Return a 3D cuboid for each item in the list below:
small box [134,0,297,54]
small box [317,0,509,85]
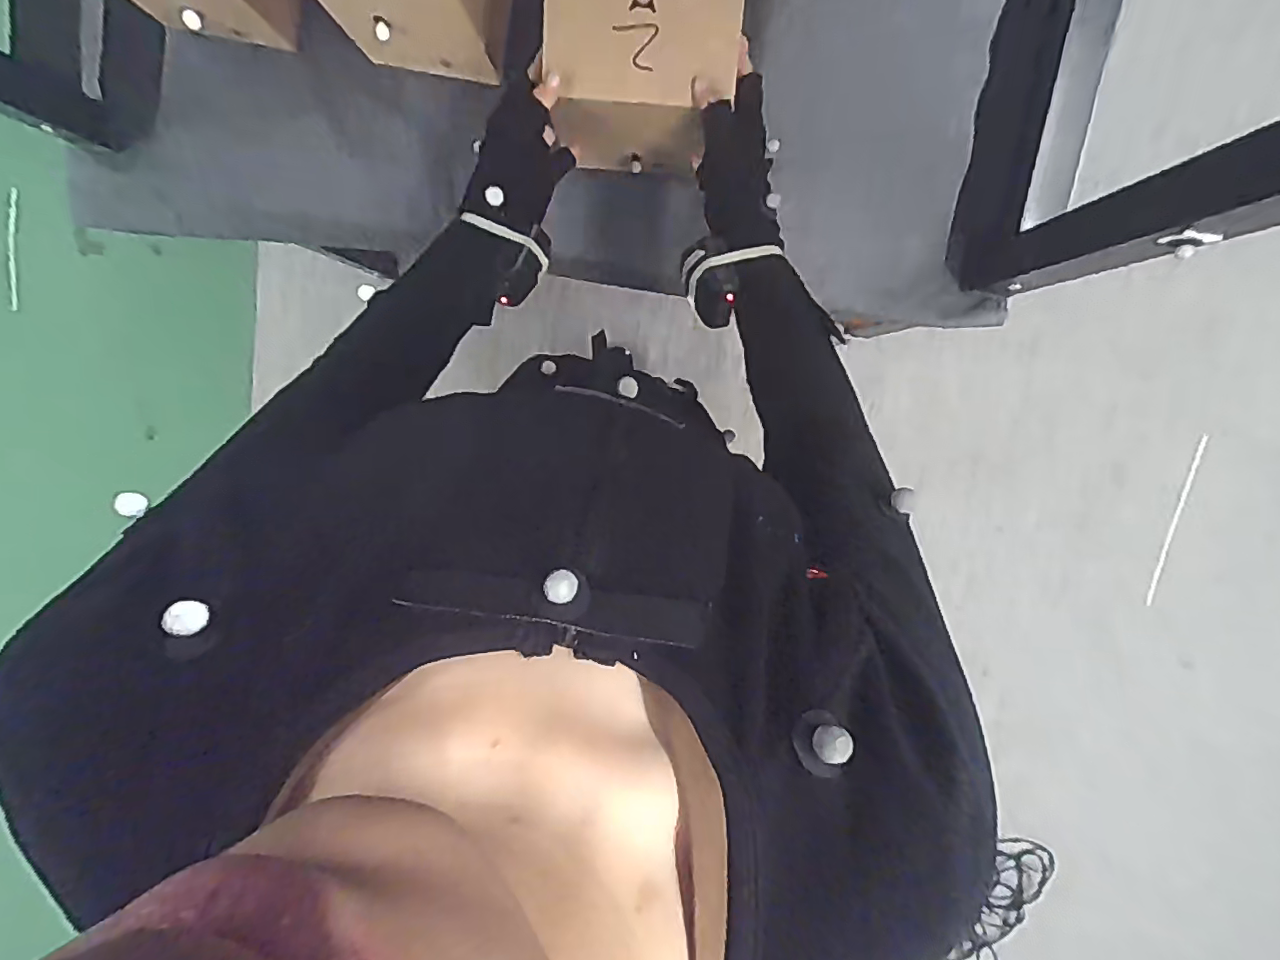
[{"bbox_3d":[-0.490,-0.608,0.572,0.168,0.176,0.179,10,100,0],"label":"small box"},{"bbox_3d":[-0.241,-0.566,0.575,0.168,0.176,0.179,10,99,-1],"label":"small box"}]
